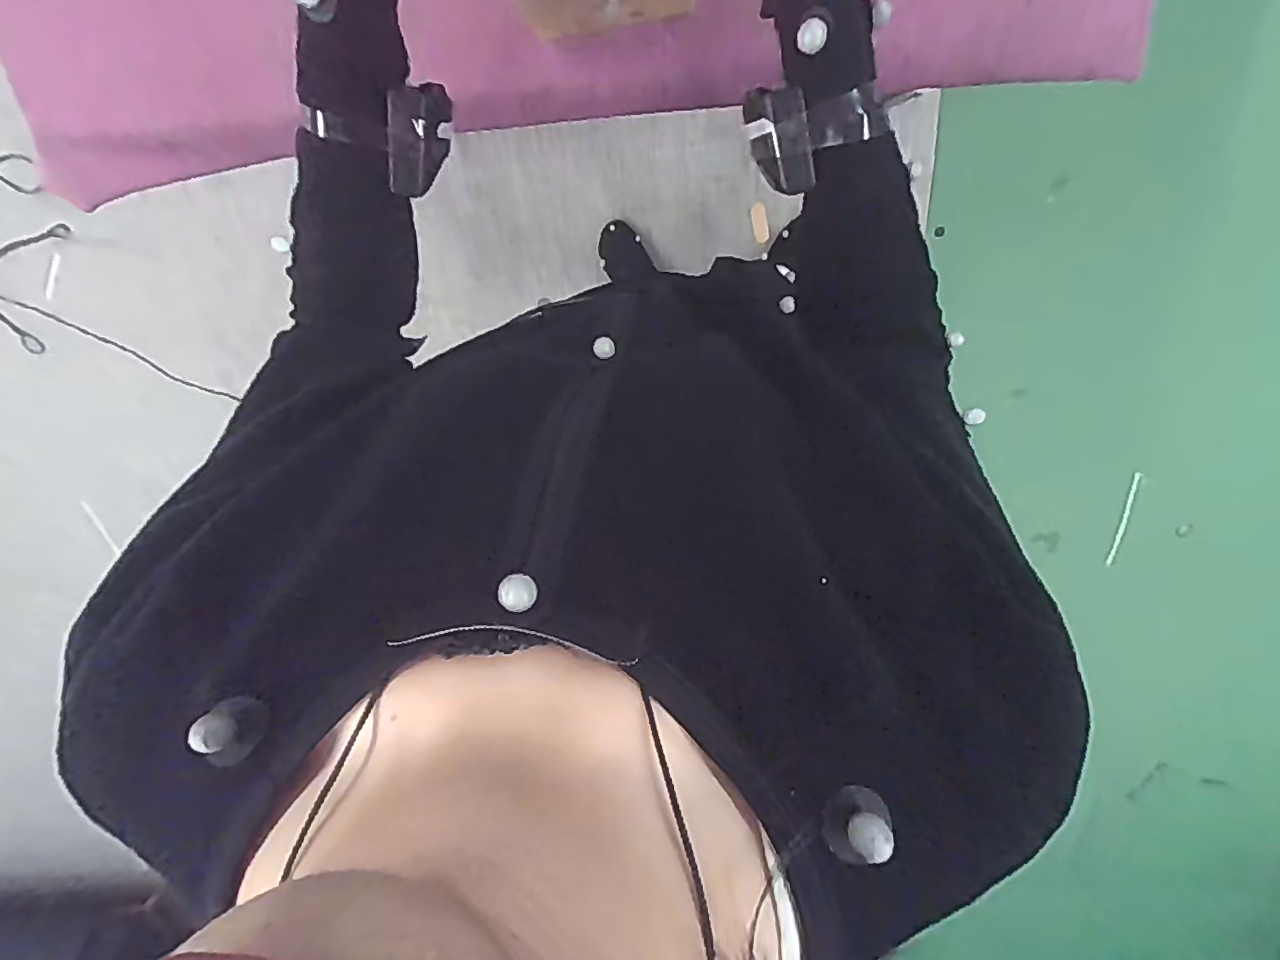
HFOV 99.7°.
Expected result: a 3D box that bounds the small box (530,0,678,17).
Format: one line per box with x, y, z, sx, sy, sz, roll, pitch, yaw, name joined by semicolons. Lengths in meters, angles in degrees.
-0.036;-0.513;0.439;0.168;0.176;0.179;-6;116;5;small box
